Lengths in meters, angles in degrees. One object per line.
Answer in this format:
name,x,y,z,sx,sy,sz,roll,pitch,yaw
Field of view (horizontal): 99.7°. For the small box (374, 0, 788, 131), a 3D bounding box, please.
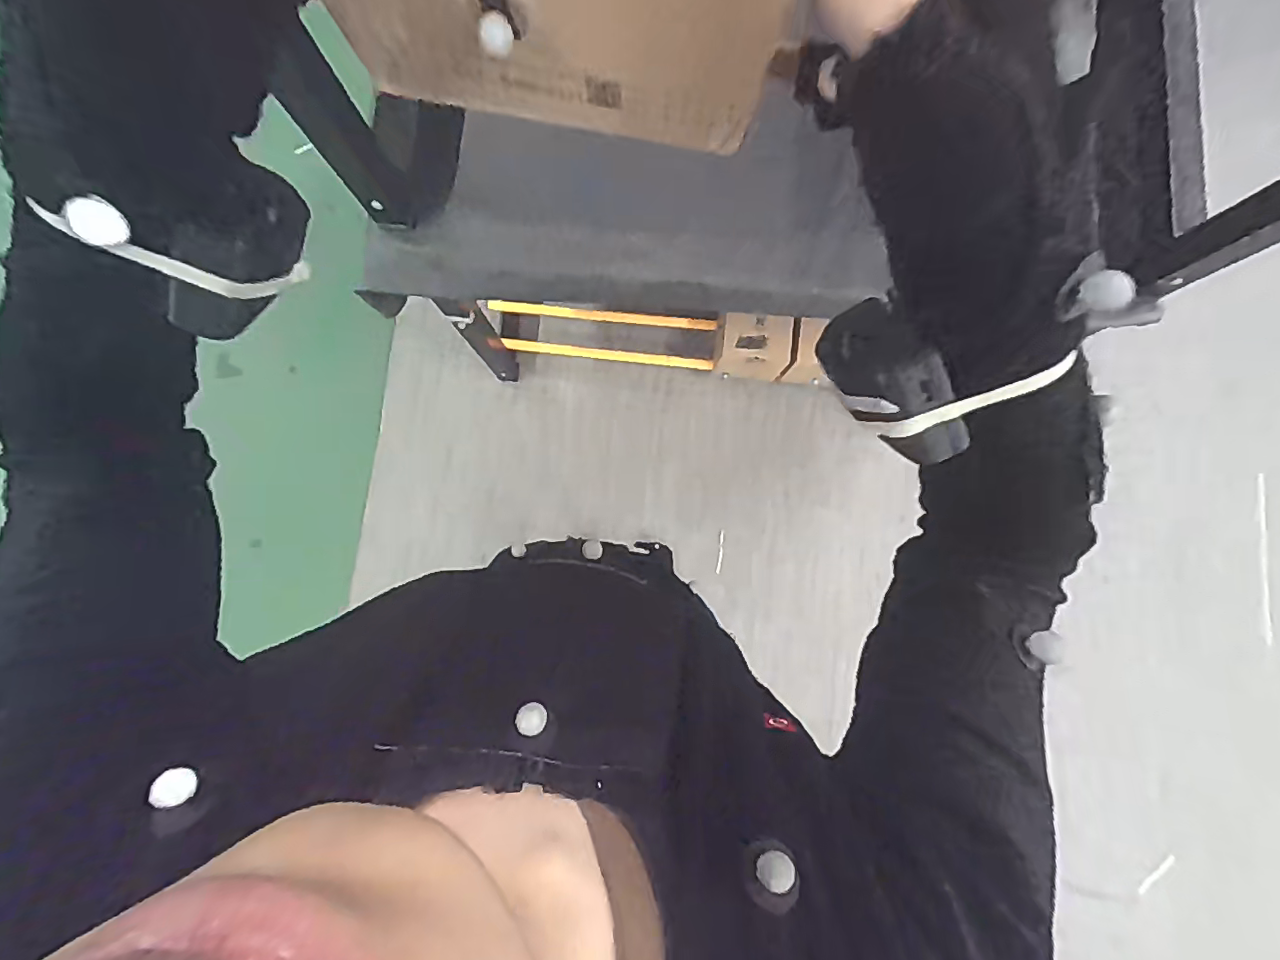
small box,-0.018,-0.250,0.157,0.168,0.176,0.179,9,91,0
